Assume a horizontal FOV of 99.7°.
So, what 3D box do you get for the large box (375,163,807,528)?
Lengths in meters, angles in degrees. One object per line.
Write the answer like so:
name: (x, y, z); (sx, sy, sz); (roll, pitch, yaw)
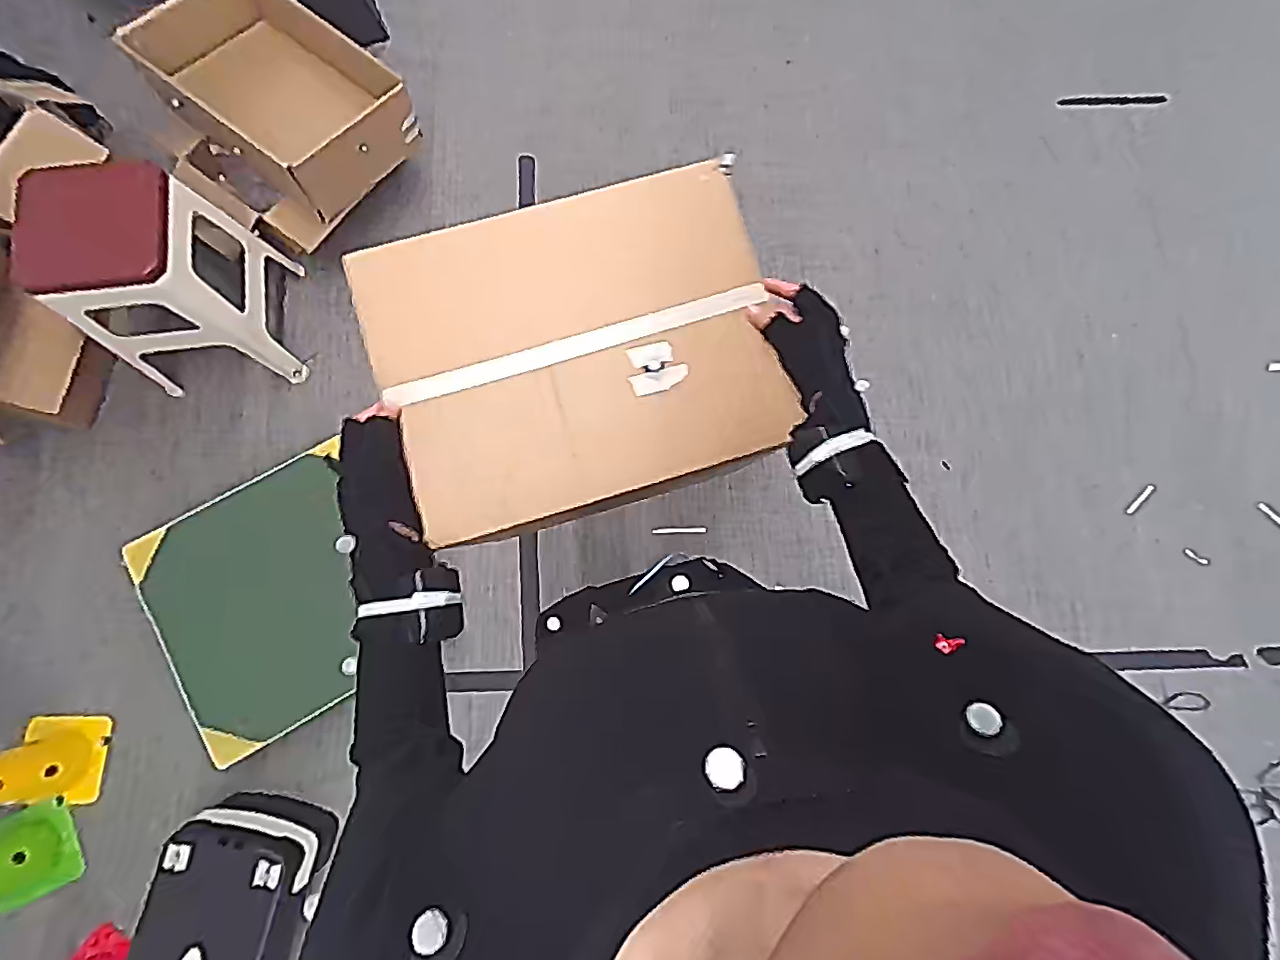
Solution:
large box: (-0.059, -0.137, 0.718); (0.408, 0.320, 0.320); (-15, 87, -4)
